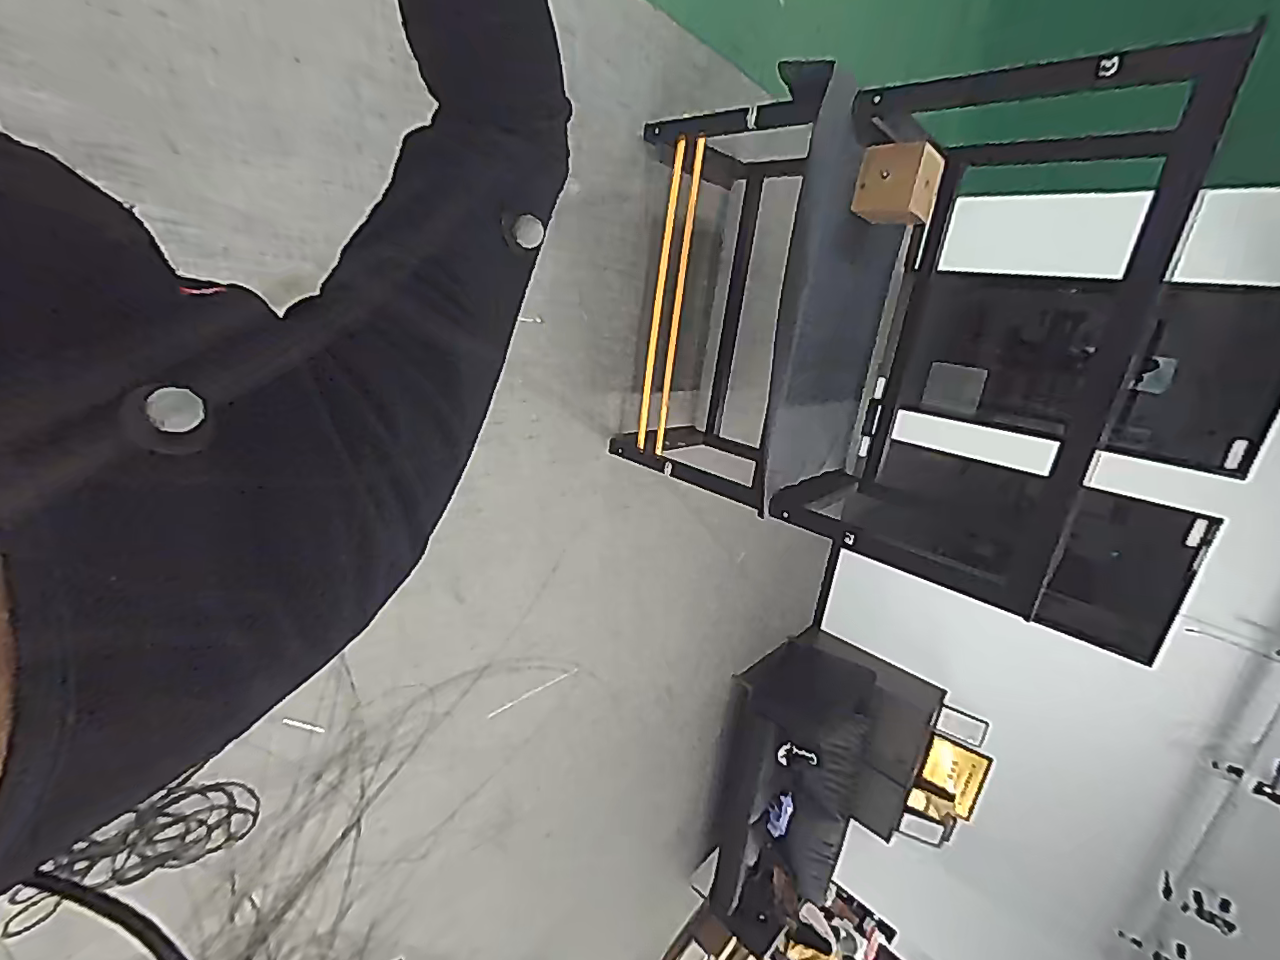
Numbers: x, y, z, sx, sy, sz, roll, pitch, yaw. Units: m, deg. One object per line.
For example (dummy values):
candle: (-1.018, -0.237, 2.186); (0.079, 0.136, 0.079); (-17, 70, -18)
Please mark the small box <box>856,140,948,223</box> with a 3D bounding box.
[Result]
small box: (0.739, -0.838, 1.534); (0.179, 0.176, 0.168); (-9, 116, -47)
